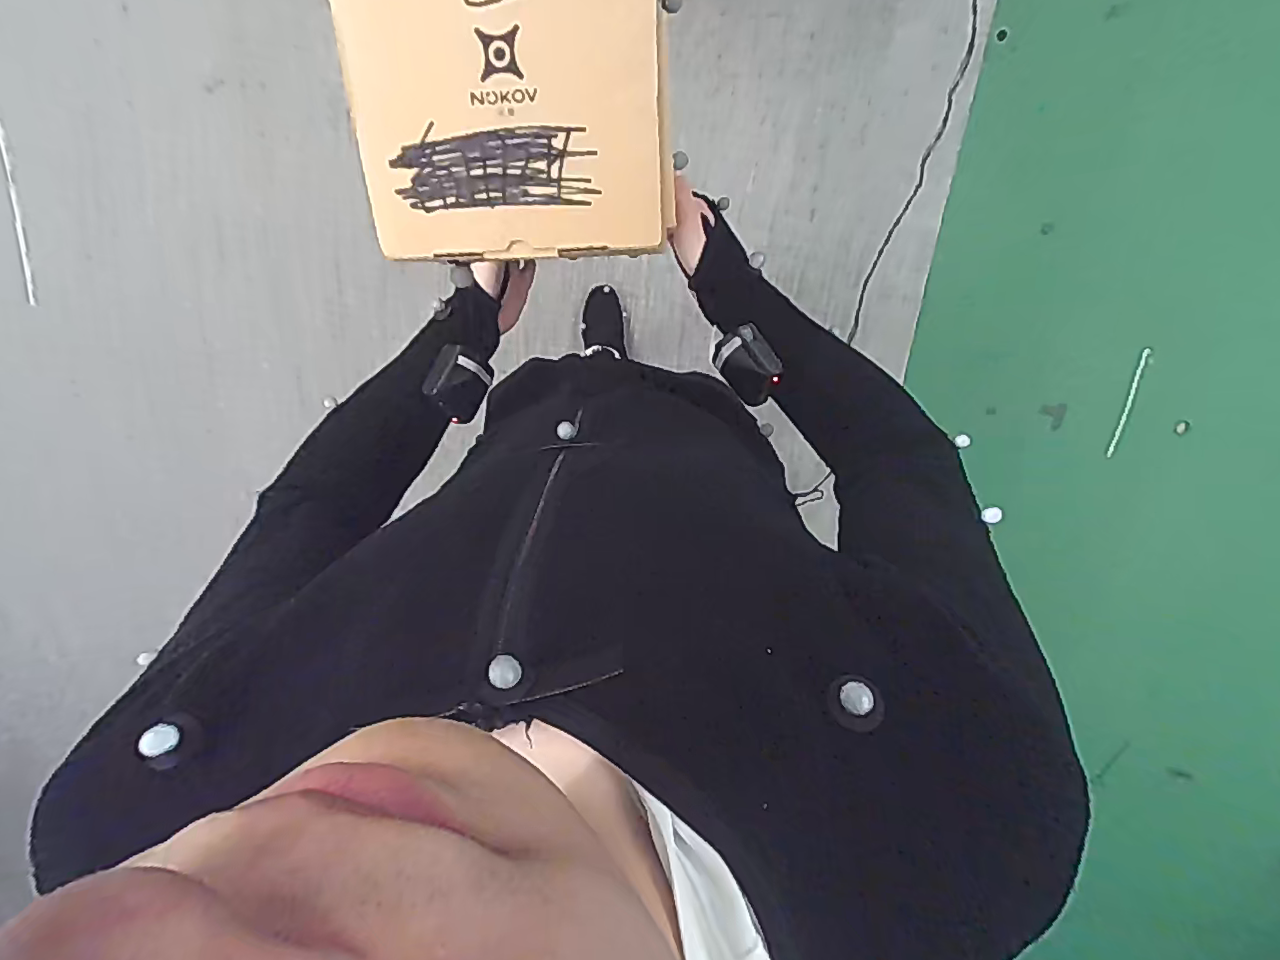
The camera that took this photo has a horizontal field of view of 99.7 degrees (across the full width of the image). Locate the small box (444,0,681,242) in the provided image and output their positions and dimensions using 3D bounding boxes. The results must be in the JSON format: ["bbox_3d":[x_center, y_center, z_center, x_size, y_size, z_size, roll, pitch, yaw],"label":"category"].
[{"bbox_3d":[-0.053,-0.316,0.502,0.179,0.176,0.168,-2,113,4],"label":"small box"}]
